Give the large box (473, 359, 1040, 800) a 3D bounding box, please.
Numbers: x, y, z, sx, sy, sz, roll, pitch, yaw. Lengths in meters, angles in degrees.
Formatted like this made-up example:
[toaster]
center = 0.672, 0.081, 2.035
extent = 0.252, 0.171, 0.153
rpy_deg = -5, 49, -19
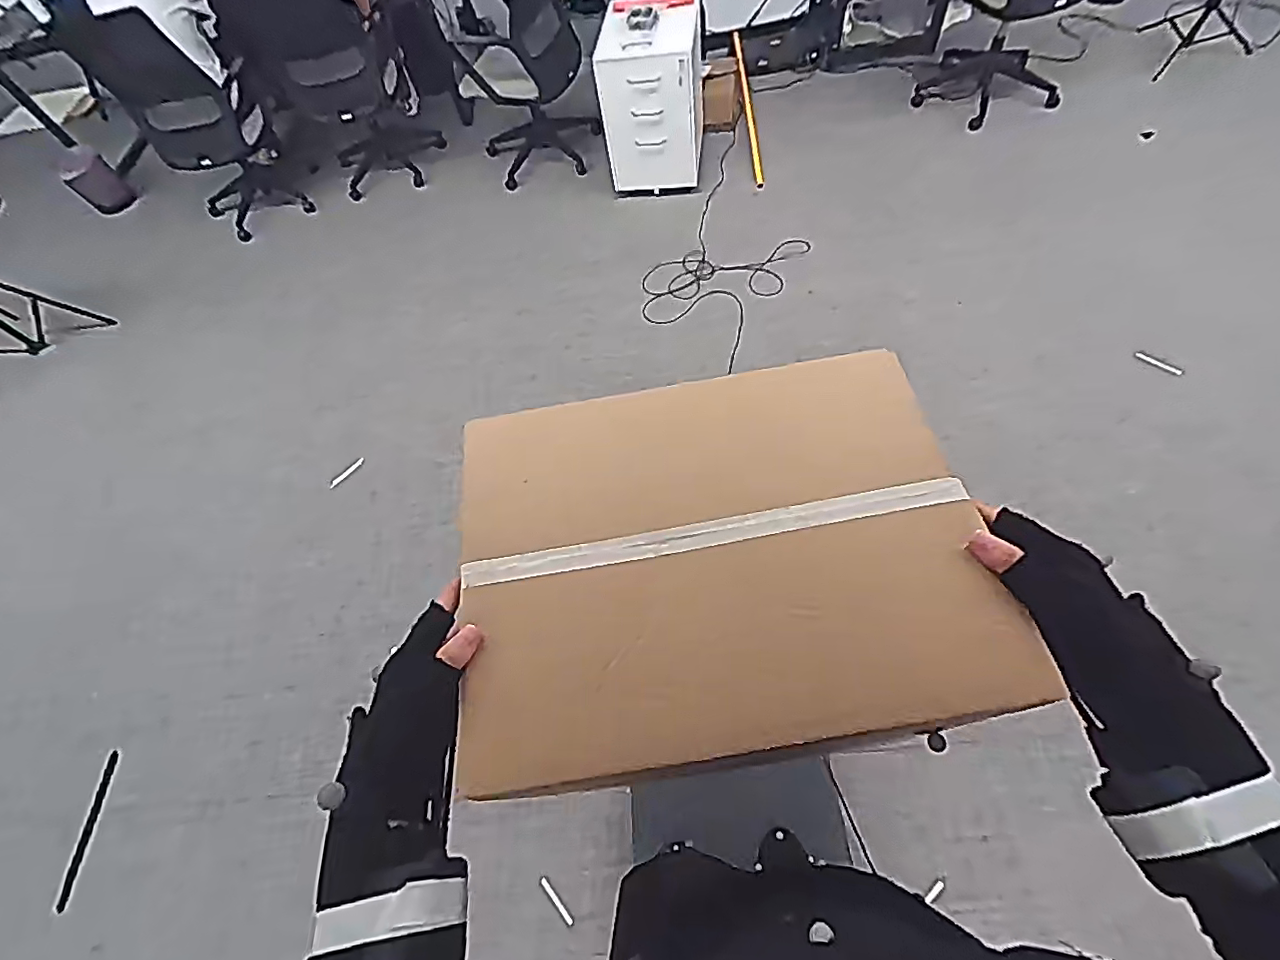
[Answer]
[large box]
center = 0.075, 0.122, 0.572
extent = 0.408, 0.320, 0.320
rpy_deg = -10, 60, 1
